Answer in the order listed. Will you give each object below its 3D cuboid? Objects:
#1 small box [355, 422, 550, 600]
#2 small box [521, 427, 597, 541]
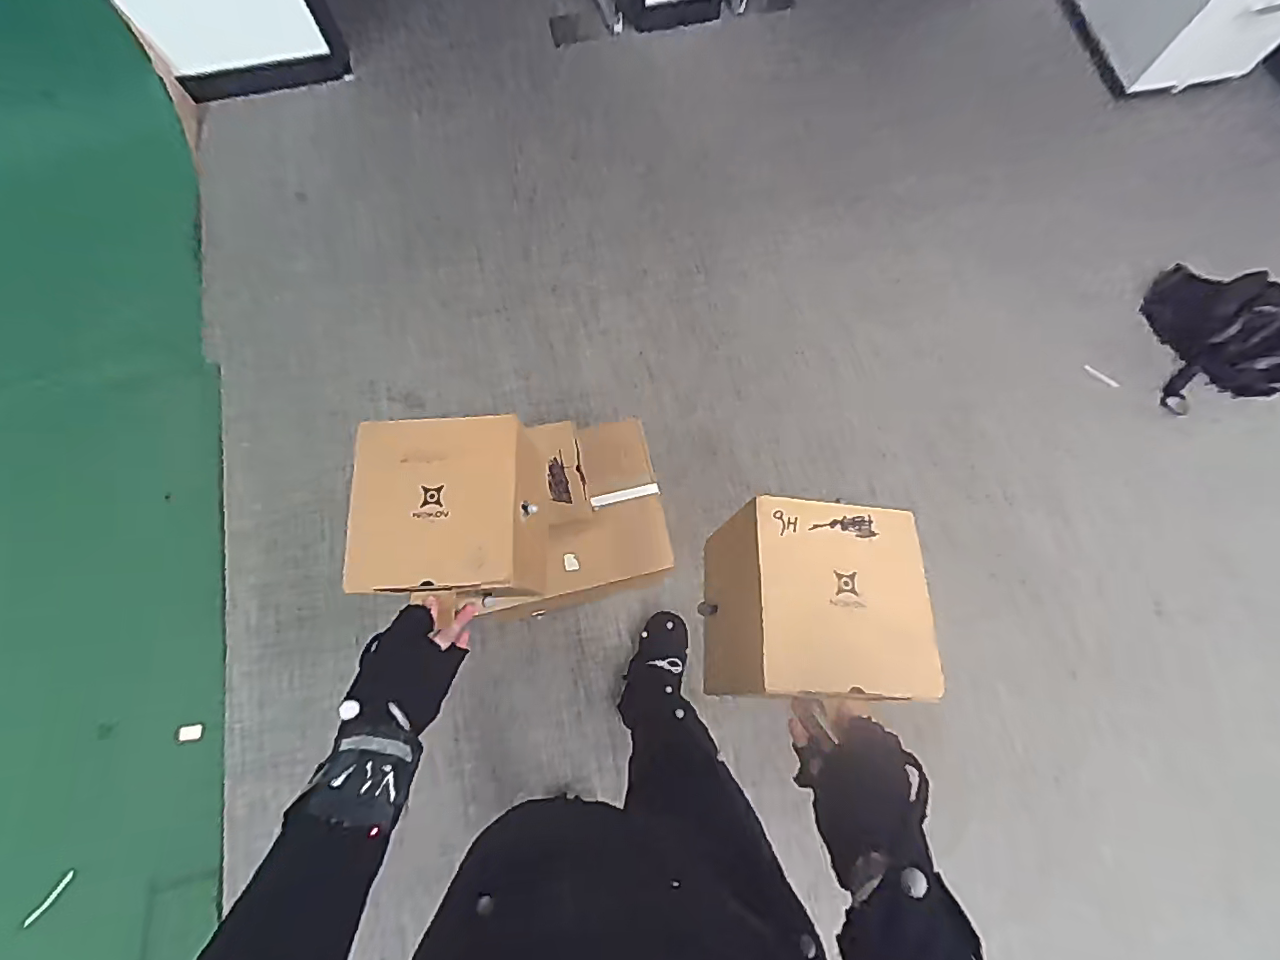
[{"bbox_3d":[-0.201,0.046,0.627,0.168,0.176,0.179,-4,75,1],"label":"small box"},{"bbox_3d":[-0.176,0.021,0.951,0.179,0.176,0.168,-14,81,-4],"label":"small box"}]
